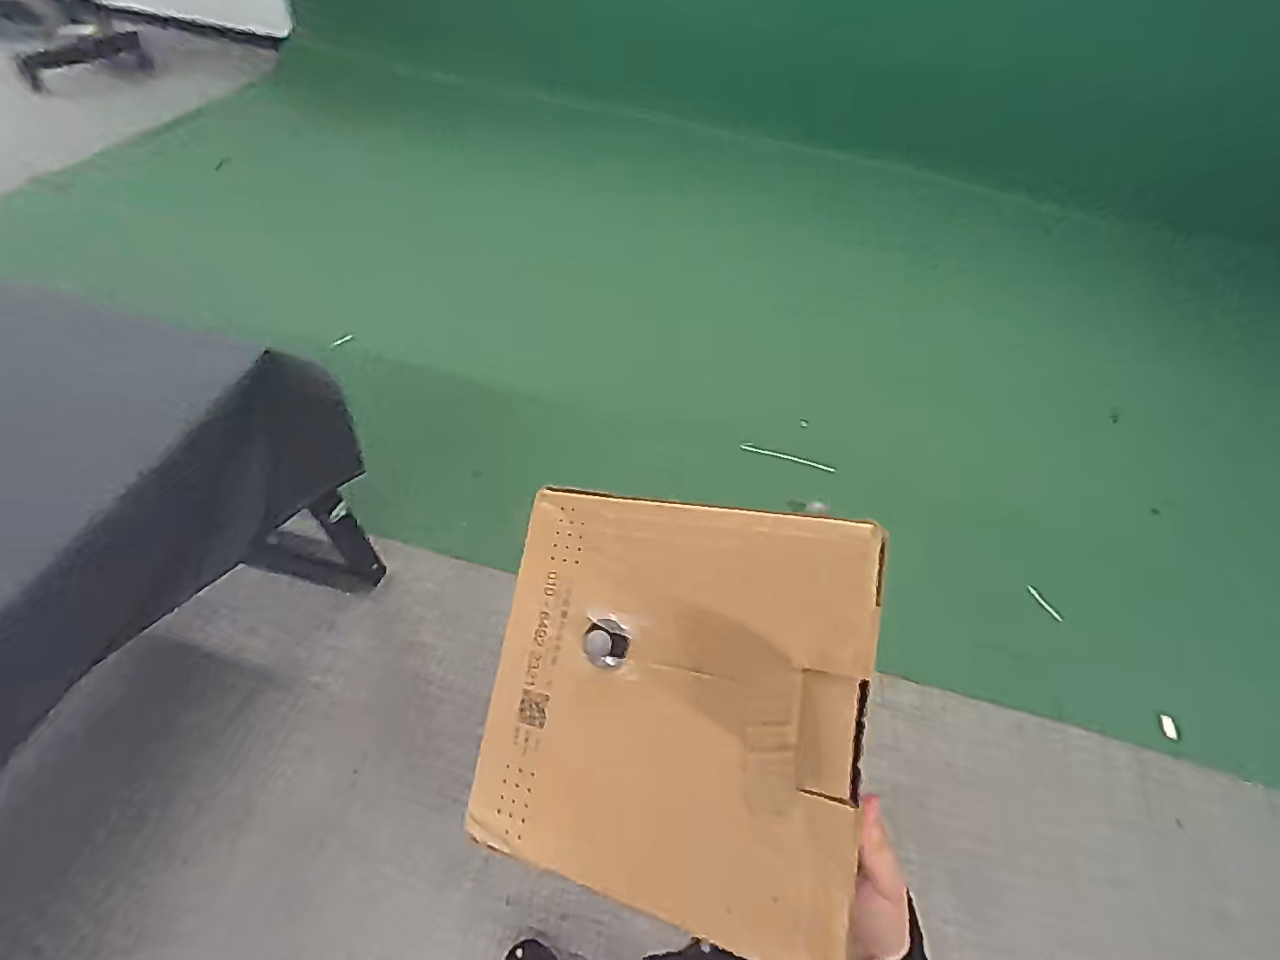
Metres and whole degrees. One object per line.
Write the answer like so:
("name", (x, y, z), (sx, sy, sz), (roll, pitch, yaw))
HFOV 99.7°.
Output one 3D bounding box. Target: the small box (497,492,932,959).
("small box", (0.051, 0.109, 0.306), (0.176, 0.179, 0.168), (6, 77, 23))
